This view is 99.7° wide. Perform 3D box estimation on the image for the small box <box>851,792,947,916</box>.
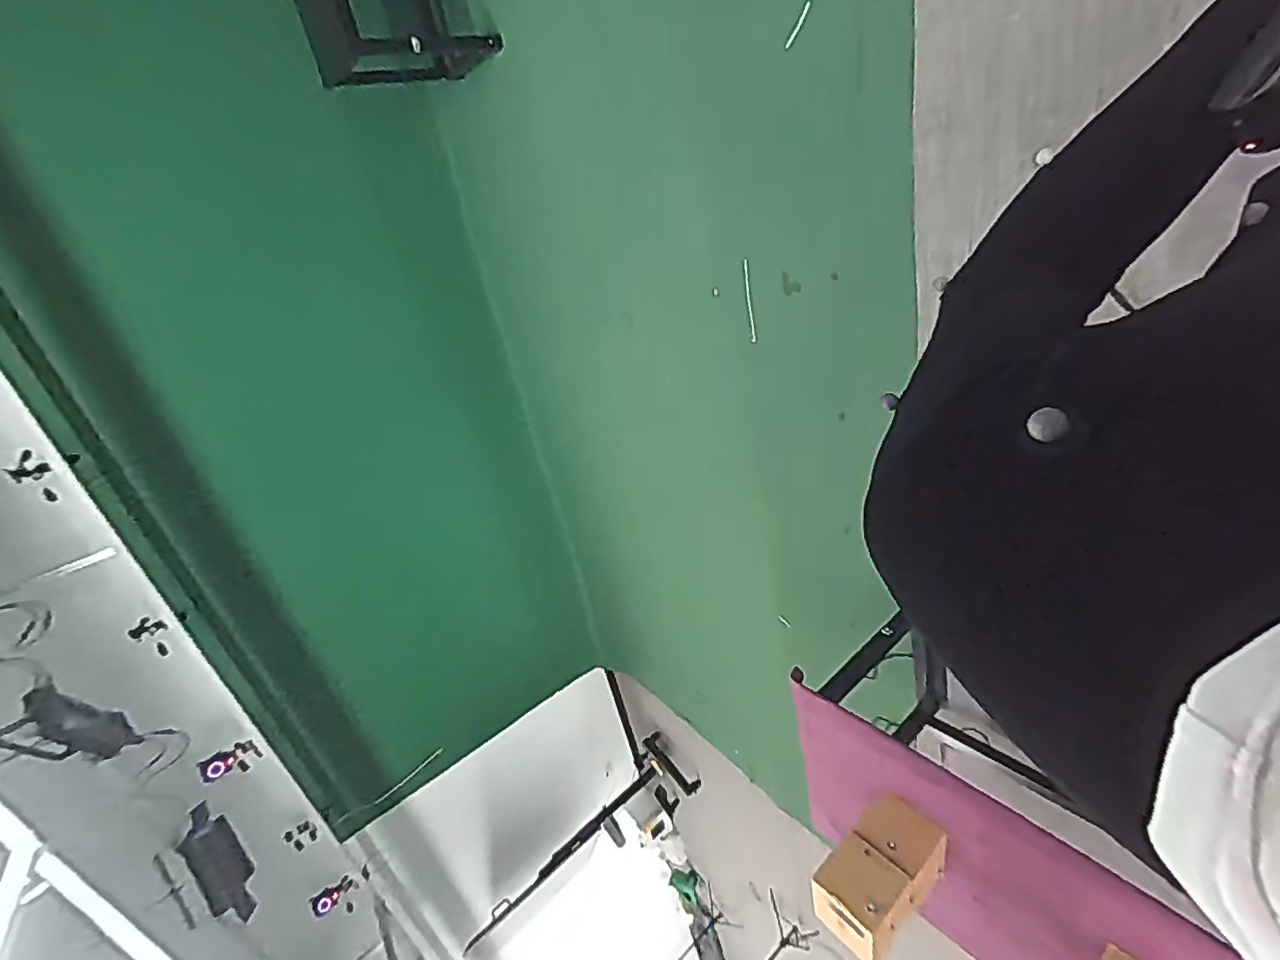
[{"bbox_3d":[0.687,0.978,1.430,0.179,0.176,0.168,22,132,50],"label":"small box"}]
